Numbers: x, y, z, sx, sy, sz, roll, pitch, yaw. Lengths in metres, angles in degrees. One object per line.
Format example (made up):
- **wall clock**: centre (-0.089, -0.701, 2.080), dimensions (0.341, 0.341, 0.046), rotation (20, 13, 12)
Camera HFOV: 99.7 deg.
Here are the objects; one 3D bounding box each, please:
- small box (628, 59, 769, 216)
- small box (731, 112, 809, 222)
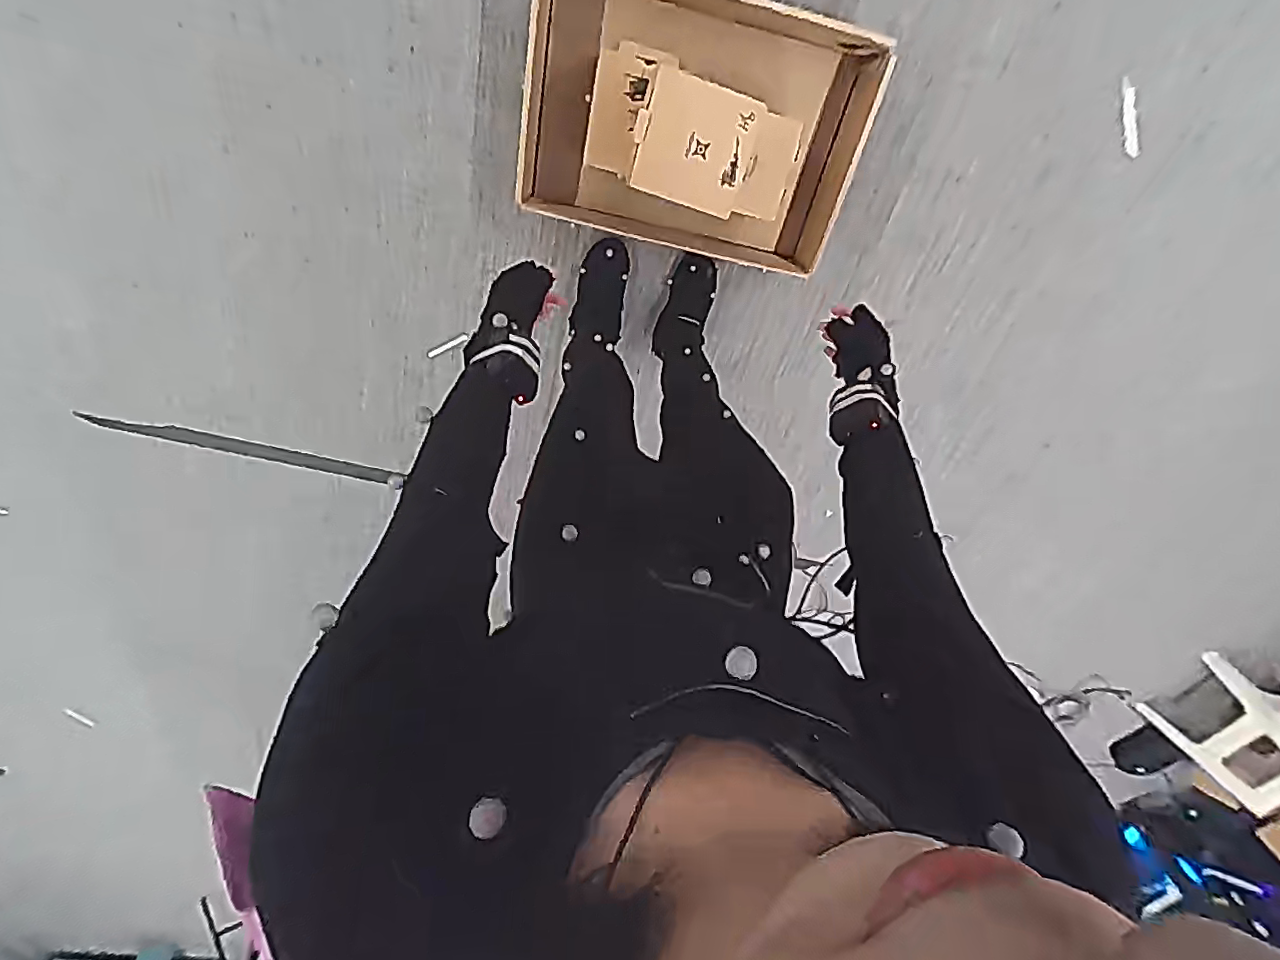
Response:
- **small box**: centre (0.084, -0.556, 0.891), dimensions (0.179, 0.176, 0.168), rotation (14, 122, -10)
- **small box**: centre (0.196, -0.620, 1.047), dimensions (0.179, 0.176, 0.168), rotation (12, 122, -6)
